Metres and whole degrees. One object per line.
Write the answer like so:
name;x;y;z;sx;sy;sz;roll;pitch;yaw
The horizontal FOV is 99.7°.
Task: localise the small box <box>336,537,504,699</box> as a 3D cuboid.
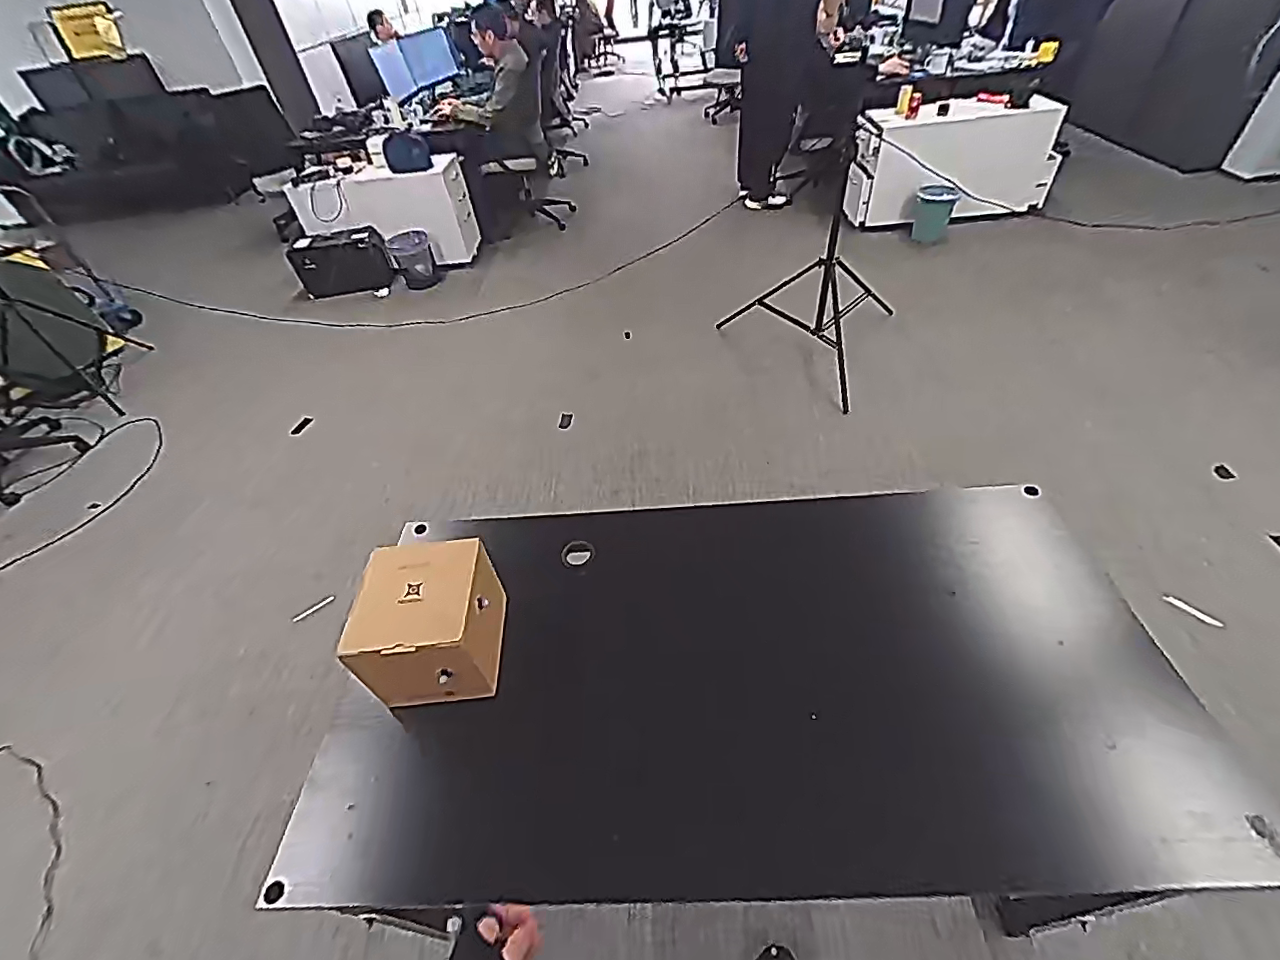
small box;-0.308;0.210;0.803;0.168;0.176;0.179;-5;44;-1
